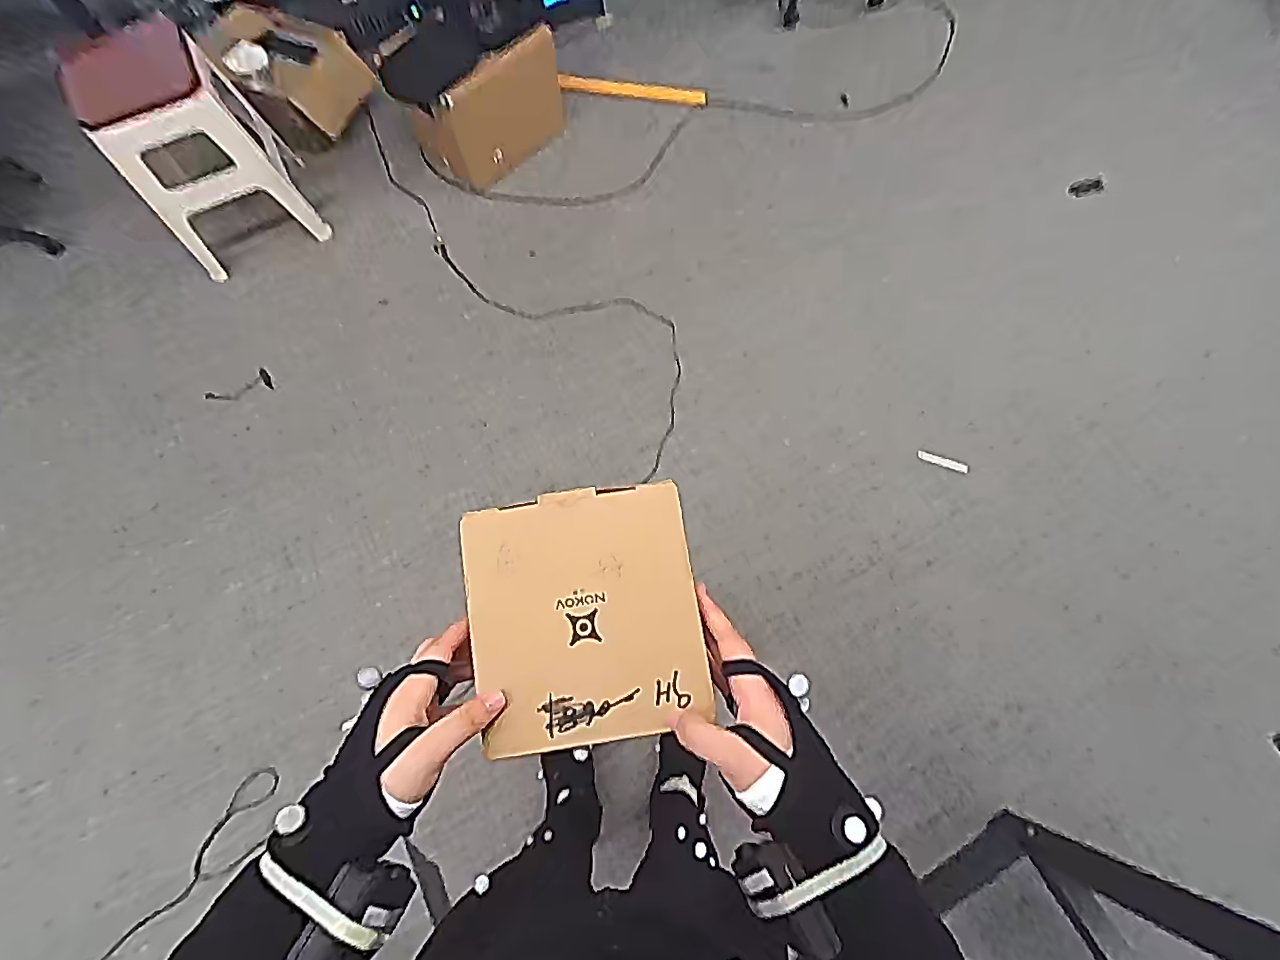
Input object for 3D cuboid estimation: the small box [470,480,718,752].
[{"bbox_3d":[-0.035,0.111,0.474,0.168,0.176,0.179,-9,79,0],"label":"small box"}]
